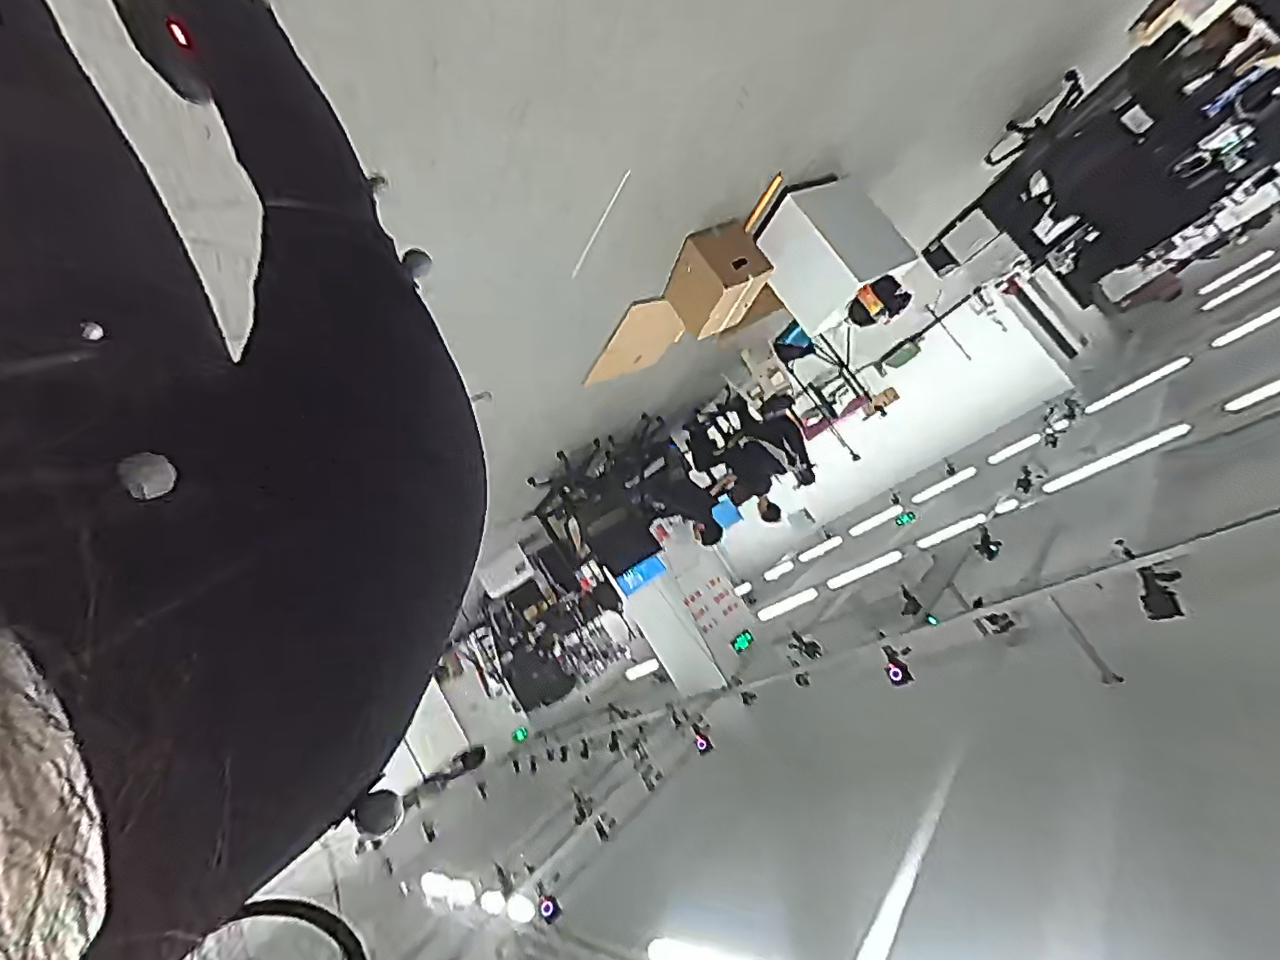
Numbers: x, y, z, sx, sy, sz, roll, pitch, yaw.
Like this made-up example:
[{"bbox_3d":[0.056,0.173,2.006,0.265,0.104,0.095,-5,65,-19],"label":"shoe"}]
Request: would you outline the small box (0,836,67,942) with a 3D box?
[{"bbox_3d":[-1.494,0.976,1.265,0.168,0.176,0.179,-41,167,36],"label":"small box"}]
